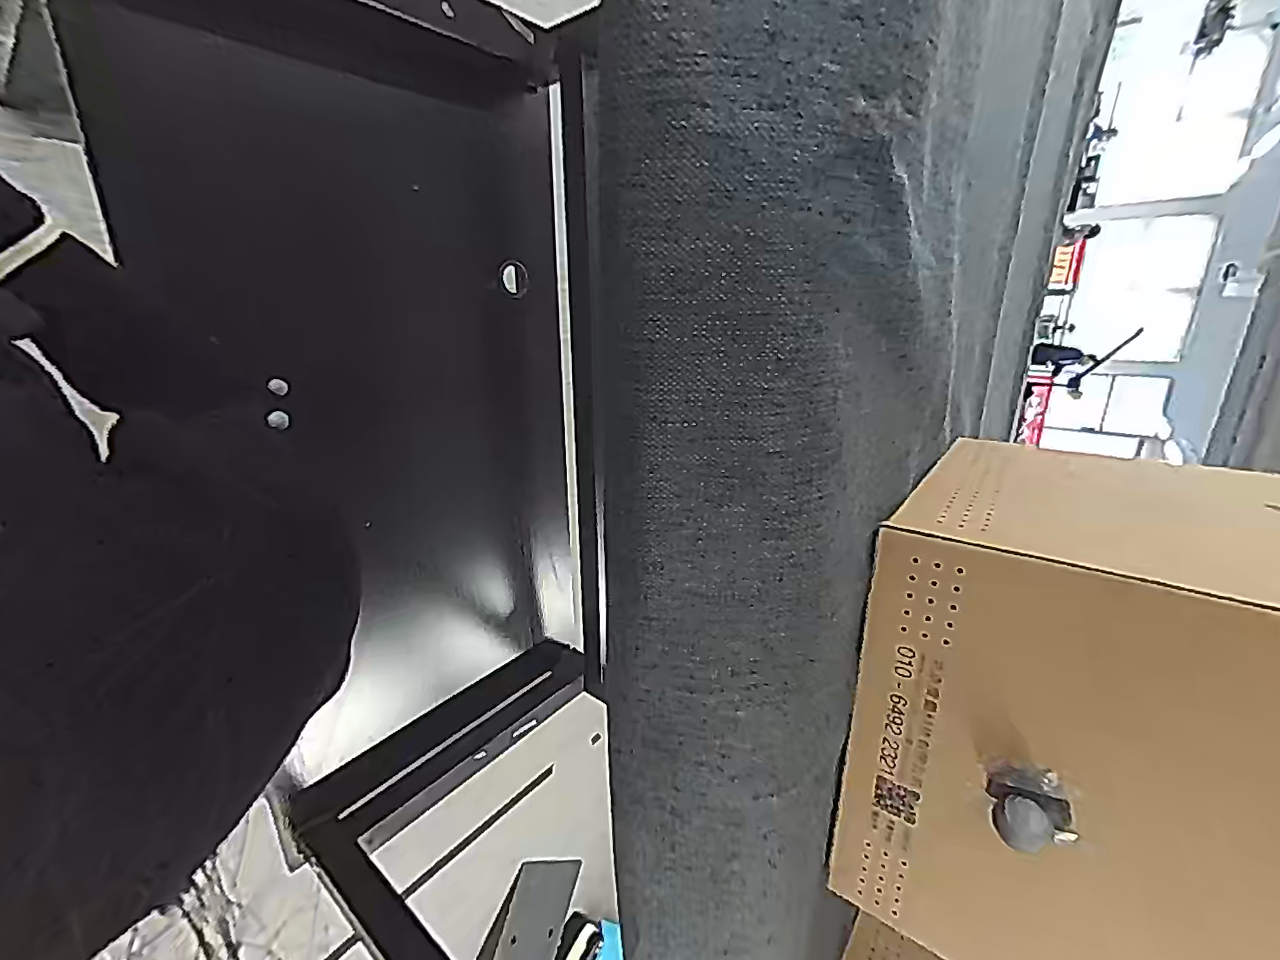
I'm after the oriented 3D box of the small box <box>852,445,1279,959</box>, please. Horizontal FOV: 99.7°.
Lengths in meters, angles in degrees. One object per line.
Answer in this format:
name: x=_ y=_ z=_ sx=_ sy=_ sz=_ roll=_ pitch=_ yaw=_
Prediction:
small box: x=0.205 y=0.087 z=0.225 sx=0.179 sy=0.176 sz=0.168 roll=-21 pitch=117 yaw=-50
